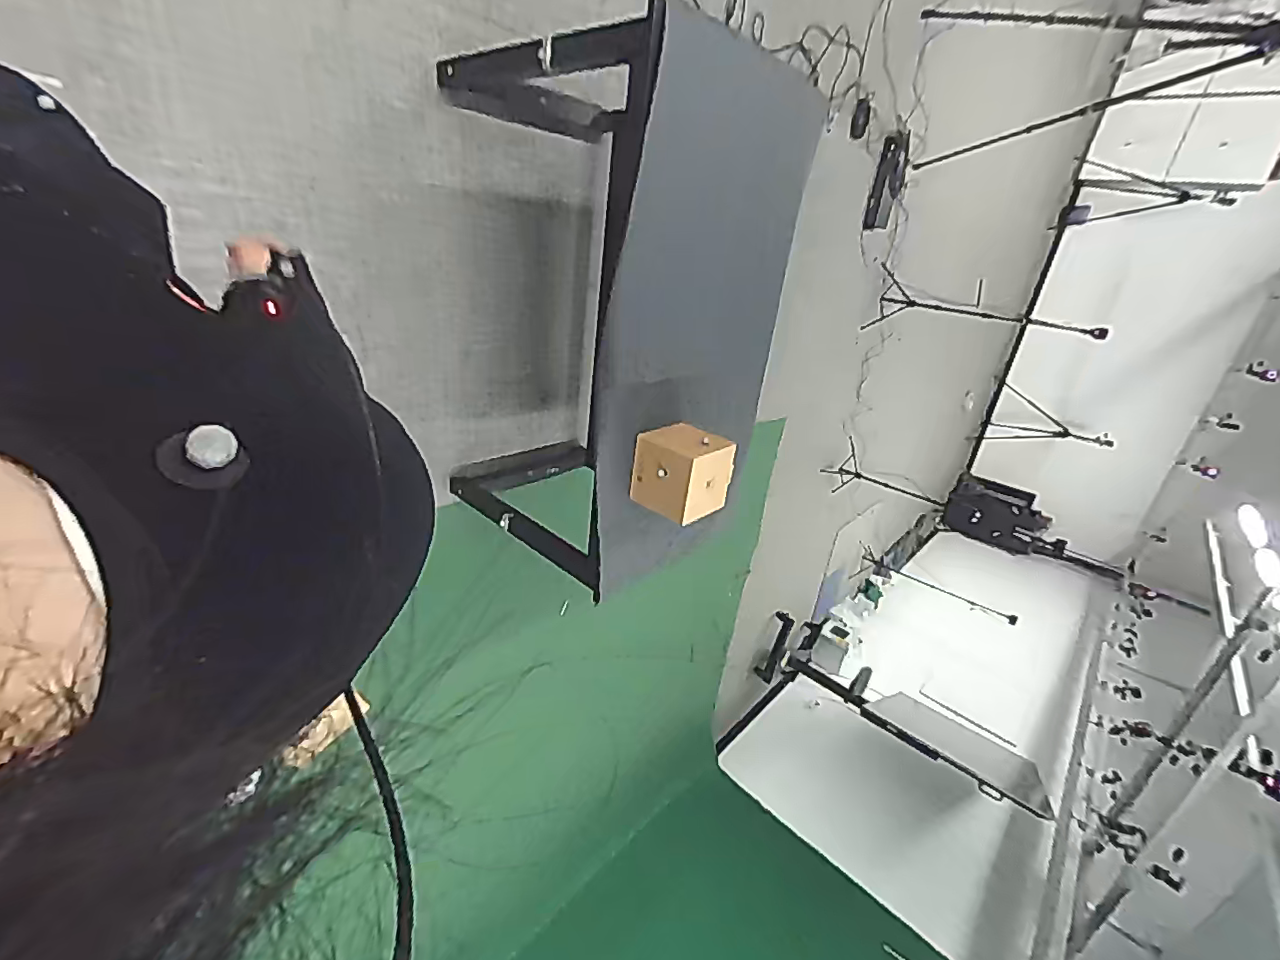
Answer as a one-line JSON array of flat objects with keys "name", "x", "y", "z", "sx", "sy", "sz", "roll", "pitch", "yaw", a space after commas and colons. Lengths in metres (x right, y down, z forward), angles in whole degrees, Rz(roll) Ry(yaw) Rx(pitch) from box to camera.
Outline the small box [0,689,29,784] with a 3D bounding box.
[{"name": "small box", "x": -1.346, "y": 0.510, "z": 1.048, "sx": 0.168, "sy": 0.176, "sz": 0.179, "roll": -28, "pitch": 132, "yaw": -39}]

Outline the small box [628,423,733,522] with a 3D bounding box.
[{"name": "small box", "x": 0.091, "y": -0.026, "z": 1.271, "sx": 0.179, "sy": 0.176, "sz": 0.168, "roll": -20, "pitch": 126, "yaw": -46}]

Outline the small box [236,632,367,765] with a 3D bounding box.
[{"name": "small box", "x": -0.759, "y": 0.480, "z": 1.204, "sx": 0.179, "sy": 0.176, "sz": 0.168, "roll": -41, "pitch": 137, "yaw": -30}]
